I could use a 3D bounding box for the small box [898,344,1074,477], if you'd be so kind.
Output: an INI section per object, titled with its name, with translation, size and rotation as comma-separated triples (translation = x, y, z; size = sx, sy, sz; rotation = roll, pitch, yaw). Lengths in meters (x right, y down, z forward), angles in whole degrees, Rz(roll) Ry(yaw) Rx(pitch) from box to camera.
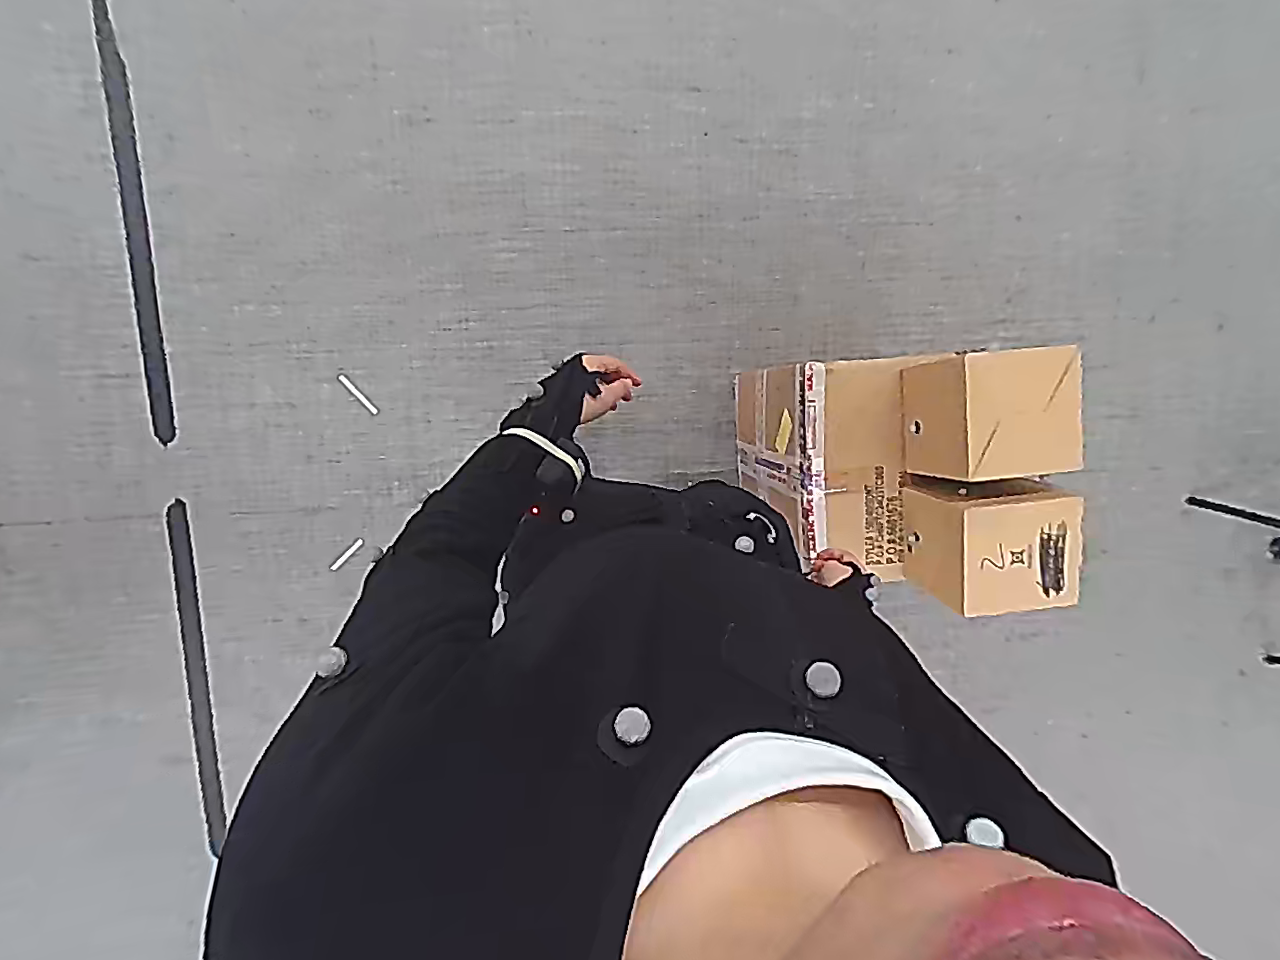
[small box]
translation = 0.521, -0.101, 0.828
size = 0.168, 0.176, 0.179
rotation = -5, 96, -3
